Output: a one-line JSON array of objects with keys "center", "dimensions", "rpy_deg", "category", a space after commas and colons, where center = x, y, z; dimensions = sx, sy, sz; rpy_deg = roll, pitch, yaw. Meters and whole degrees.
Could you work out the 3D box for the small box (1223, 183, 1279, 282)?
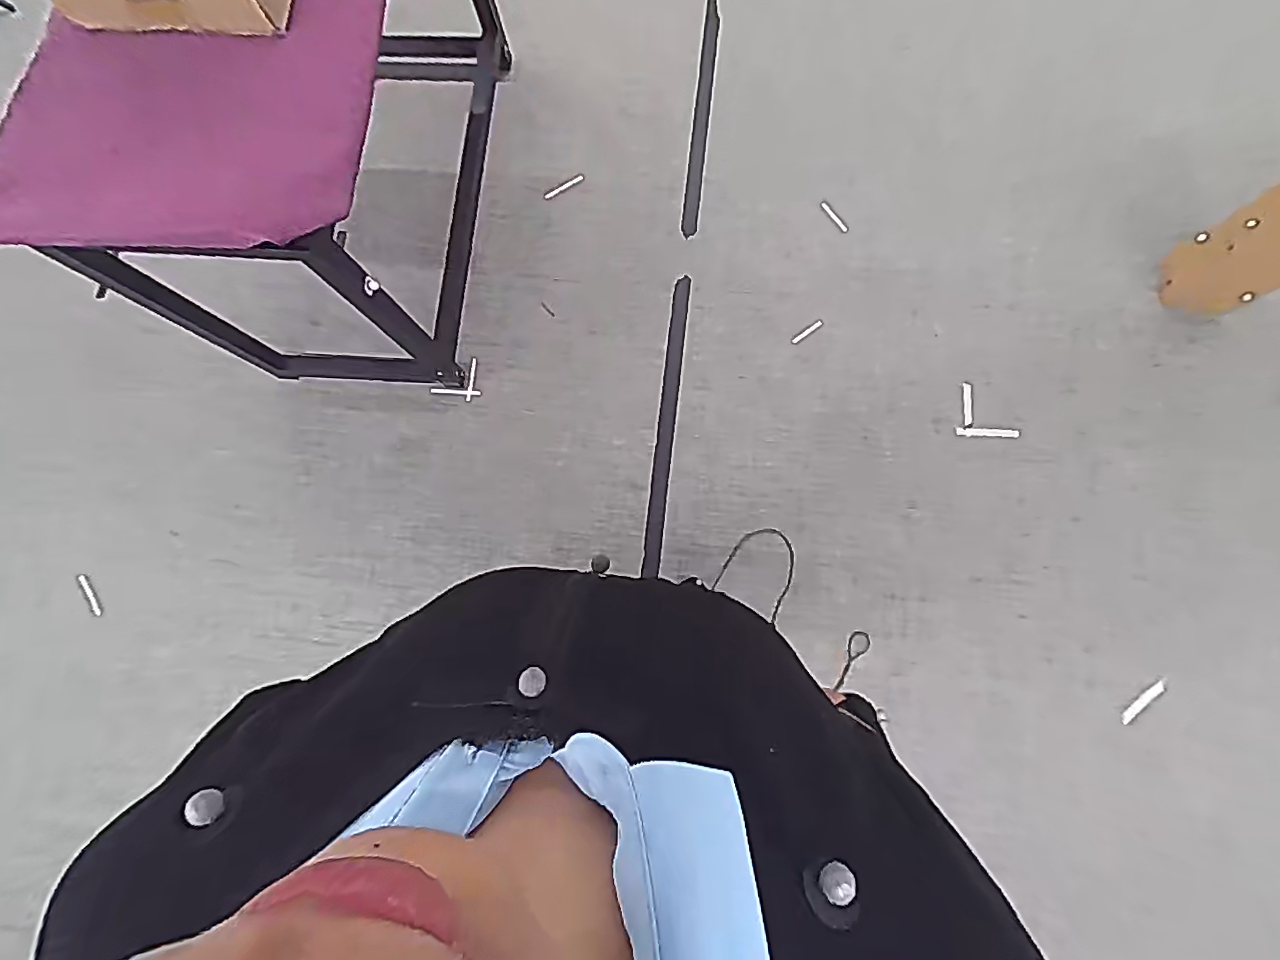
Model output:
[{"center": [1.636, -0.622, 1.359], "dimensions": [0.179, 0.176, 0.168], "rpy_deg": [12, 80, 4], "category": "small box"}]
